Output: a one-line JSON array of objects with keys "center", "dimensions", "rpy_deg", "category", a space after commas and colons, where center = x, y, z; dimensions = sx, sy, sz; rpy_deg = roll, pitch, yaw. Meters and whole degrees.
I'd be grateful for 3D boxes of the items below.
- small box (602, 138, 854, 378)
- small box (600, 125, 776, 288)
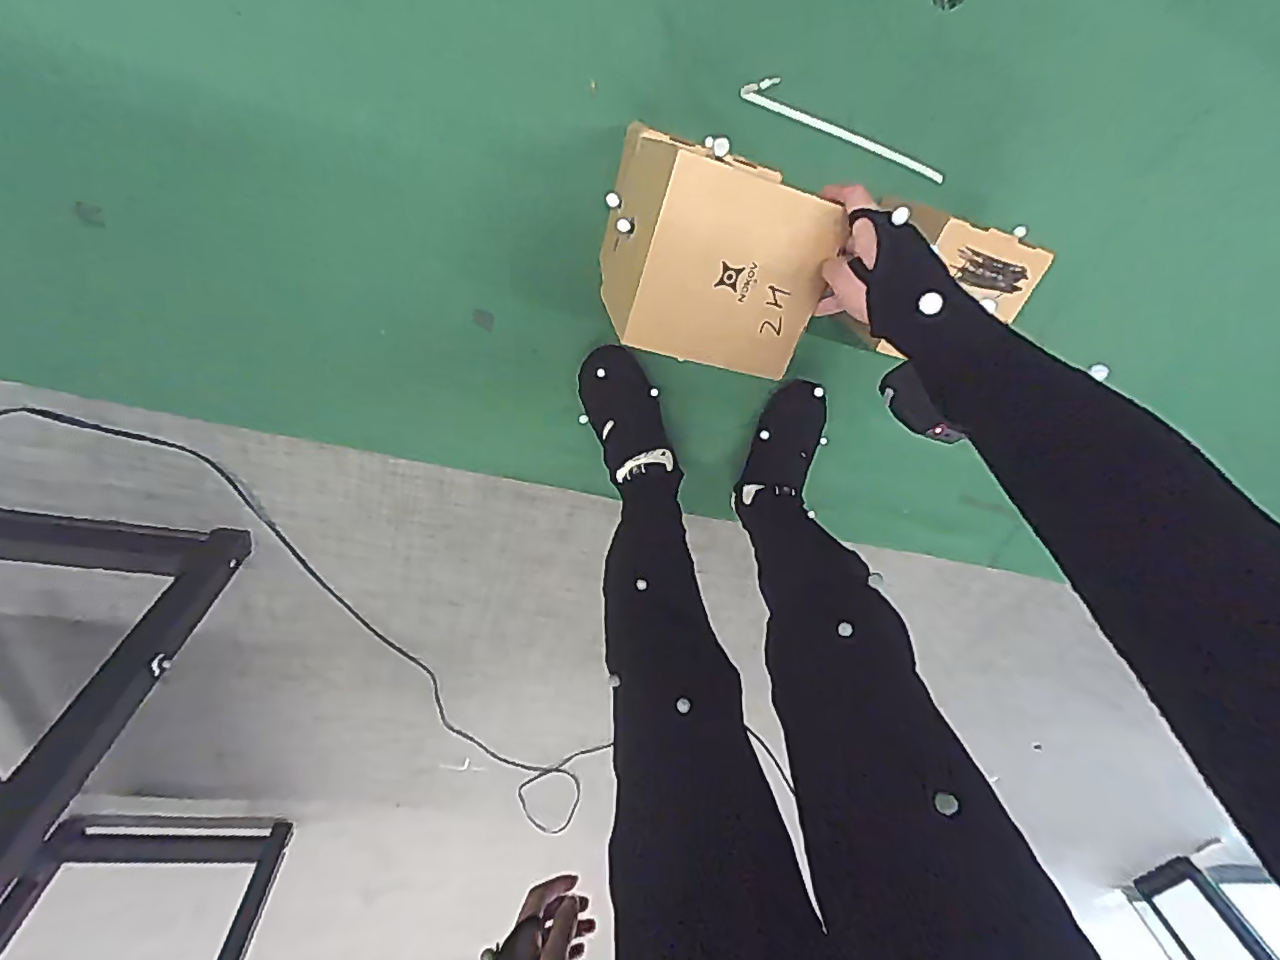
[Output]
[{"center": [0.069, -0.227, 0.549], "dimensions": [0.179, 0.176, 0.168], "rpy_deg": [9, 122, -19], "category": "small box"}, {"center": [0.047, -0.330, 0.692], "dimensions": [0.168, 0.176, 0.179], "rpy_deg": [10, 122, -12], "category": "small box"}]
